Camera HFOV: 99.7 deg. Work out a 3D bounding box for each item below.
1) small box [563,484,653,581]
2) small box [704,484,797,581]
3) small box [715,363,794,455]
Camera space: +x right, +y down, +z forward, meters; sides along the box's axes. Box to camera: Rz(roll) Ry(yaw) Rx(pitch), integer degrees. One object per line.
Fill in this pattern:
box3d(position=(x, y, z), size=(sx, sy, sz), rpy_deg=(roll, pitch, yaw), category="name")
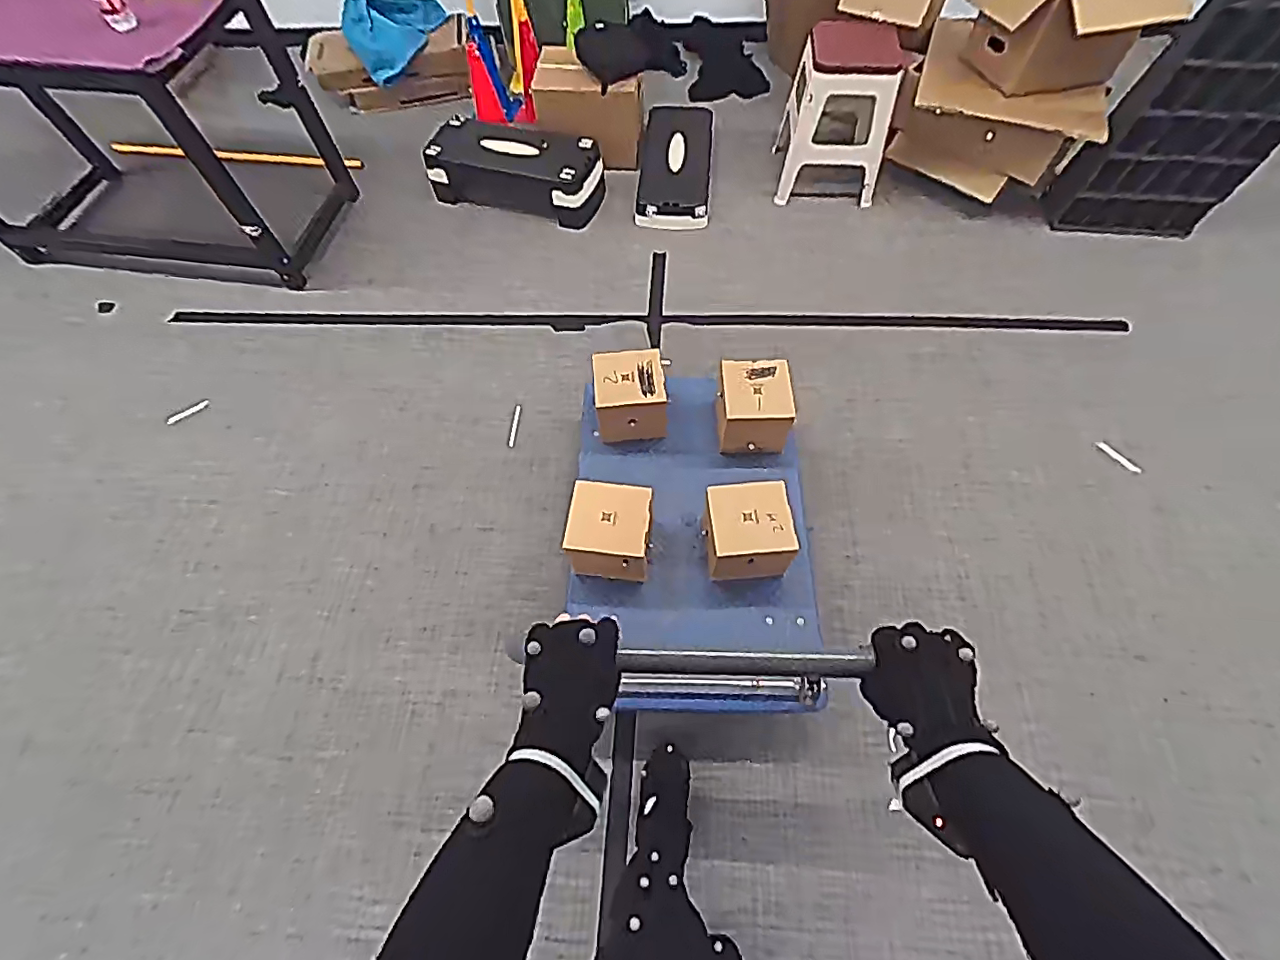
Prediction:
box3d(position=(-0.066, 0.125, 1.243), size=(0.179, 0.176, 0.168), rpy_deg=(6, 62, 3), category="small box")
box3d(position=(0.240, 0.124, 1.232), size=(0.179, 0.176, 0.168), rpy_deg=(-5, 62, 0), category="small box")
box3d(position=(0.287, -0.179, 1.391), size=(0.168, 0.176, 0.179), rpy_deg=(-1, 63, 1), category="small box")
